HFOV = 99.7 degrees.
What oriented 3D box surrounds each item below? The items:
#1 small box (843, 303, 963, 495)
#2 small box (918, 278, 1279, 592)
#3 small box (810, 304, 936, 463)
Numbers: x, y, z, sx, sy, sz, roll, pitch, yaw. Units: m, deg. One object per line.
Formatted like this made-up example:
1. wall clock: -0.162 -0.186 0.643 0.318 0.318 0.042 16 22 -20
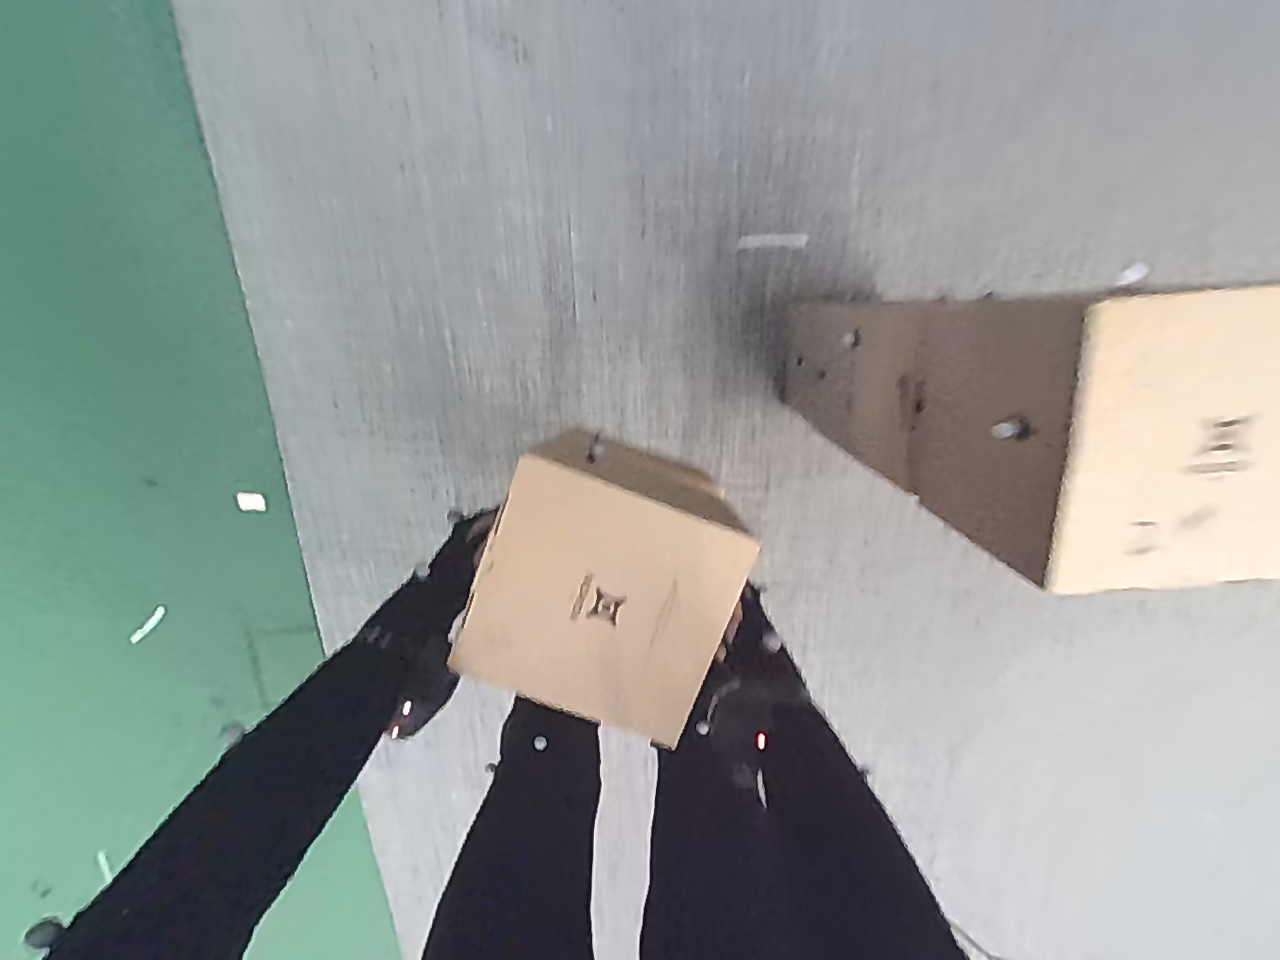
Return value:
1. small box: 0.318 -0.089 0.539 0.179 0.176 0.168 -3 107 0
2. small box: 0.319 -0.041 0.382 0.168 0.176 0.179 -4 107 2
3. small box: 0.327 -0.131 0.697 0.168 0.176 0.179 -4 107 0
